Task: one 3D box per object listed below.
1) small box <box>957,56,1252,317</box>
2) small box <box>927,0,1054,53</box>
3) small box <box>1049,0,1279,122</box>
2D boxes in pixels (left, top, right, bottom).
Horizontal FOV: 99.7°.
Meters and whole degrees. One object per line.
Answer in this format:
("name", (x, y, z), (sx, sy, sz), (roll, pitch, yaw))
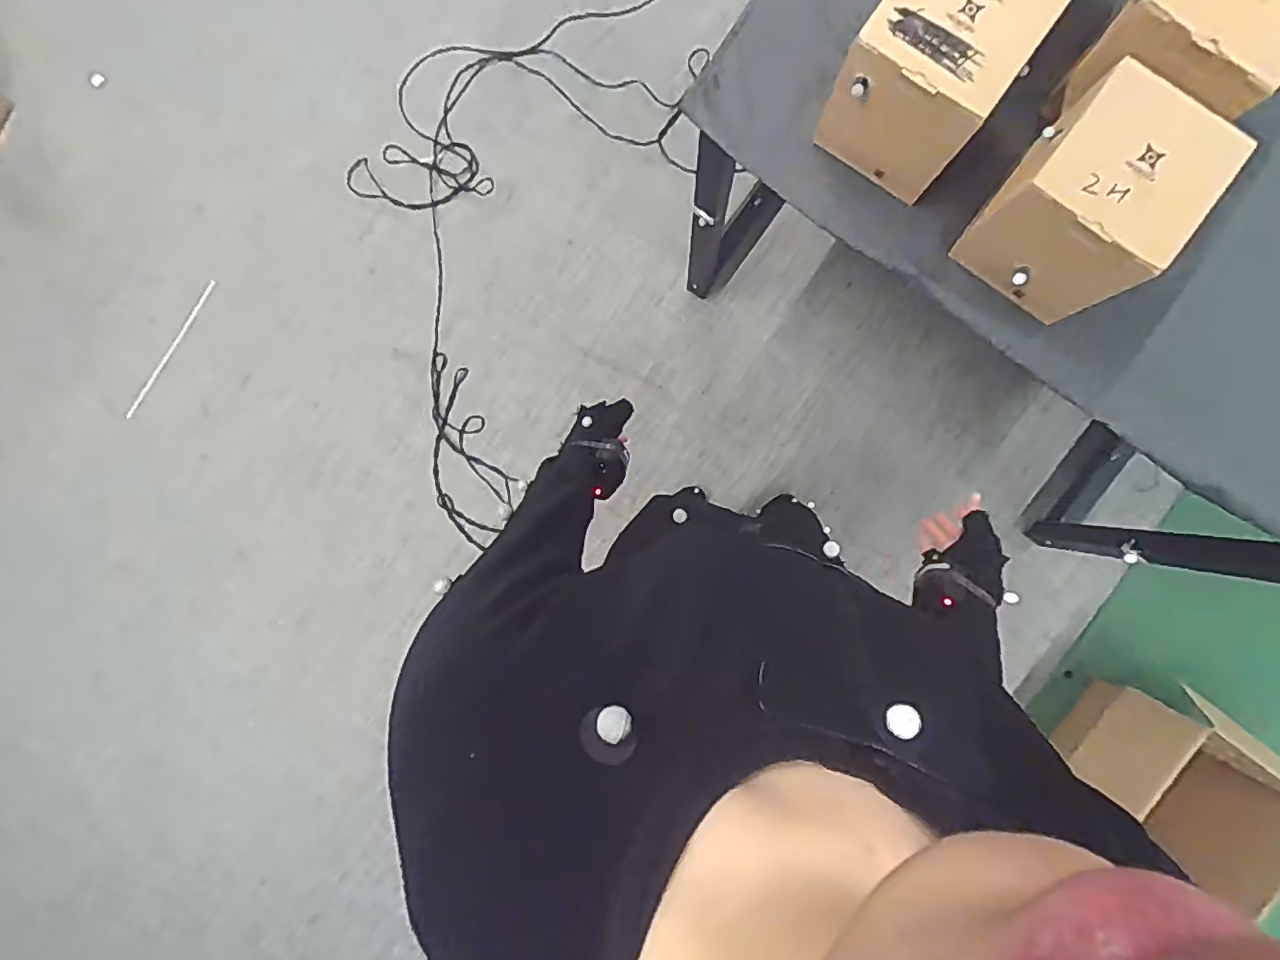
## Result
("small box", (0.528, -0.330, 0.647), (0.168, 0.176, 0.179), (37, 90, 3))
("small box", (0.475, -0.685, 0.655), (0.168, 0.176, 0.179), (35, 91, 2))
("small box", (0.653, -0.523, 0.647), (0.168, 0.176, 0.179), (38, 92, 2))
